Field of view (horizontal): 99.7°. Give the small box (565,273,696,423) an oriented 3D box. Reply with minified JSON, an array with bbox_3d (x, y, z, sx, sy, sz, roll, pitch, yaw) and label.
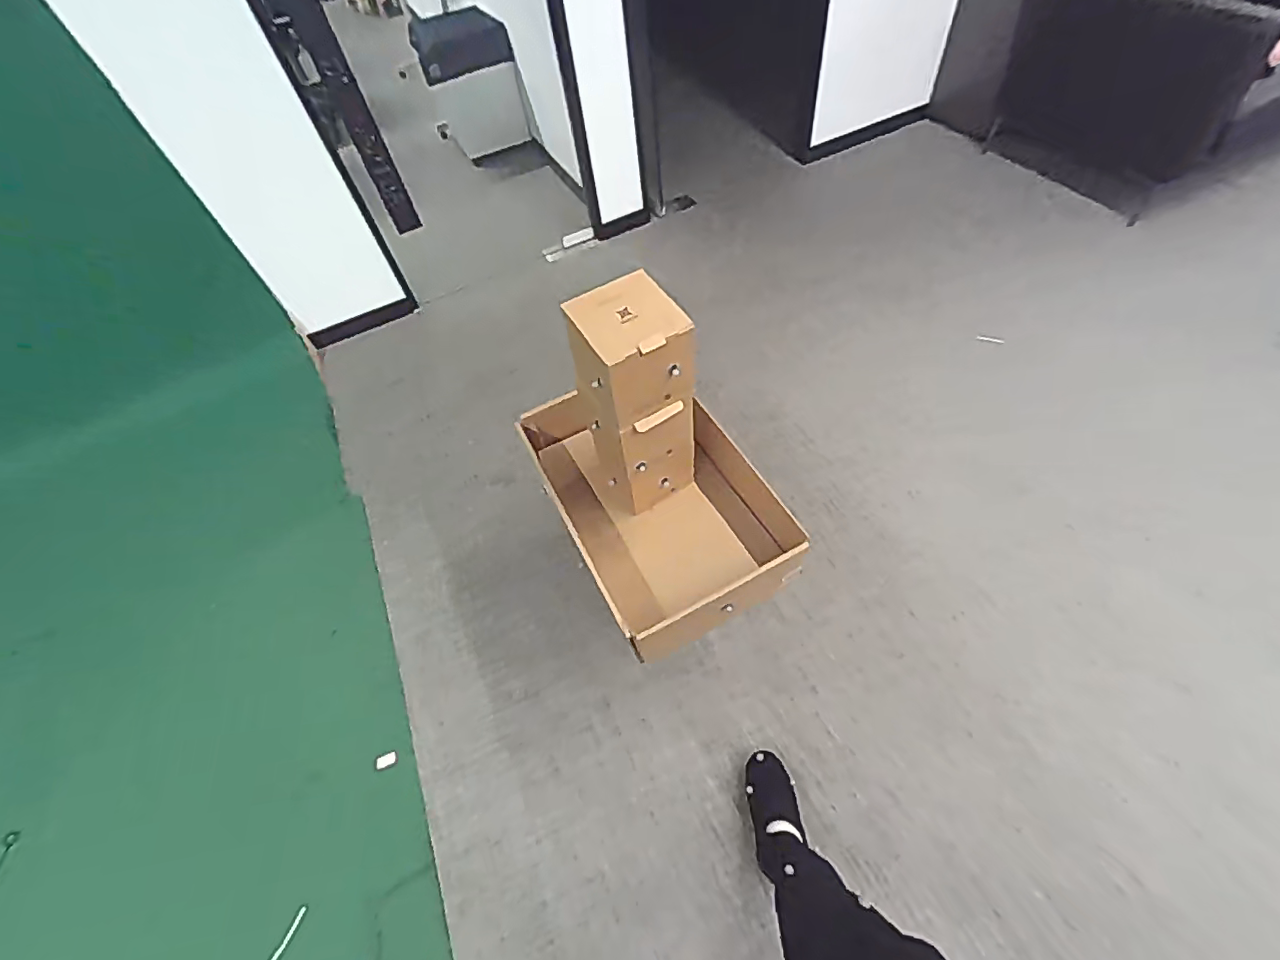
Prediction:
[{"bbox_3d":[-0.011,-0.225,0.963,0.168,0.176,0.179,-27,59,-12],"label":"small box"}]

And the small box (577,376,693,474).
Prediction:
[{"bbox_3d":[-0.004,-0.135,1.099,0.168,0.176,0.179,-30,59,-13],"label":"small box"}]
